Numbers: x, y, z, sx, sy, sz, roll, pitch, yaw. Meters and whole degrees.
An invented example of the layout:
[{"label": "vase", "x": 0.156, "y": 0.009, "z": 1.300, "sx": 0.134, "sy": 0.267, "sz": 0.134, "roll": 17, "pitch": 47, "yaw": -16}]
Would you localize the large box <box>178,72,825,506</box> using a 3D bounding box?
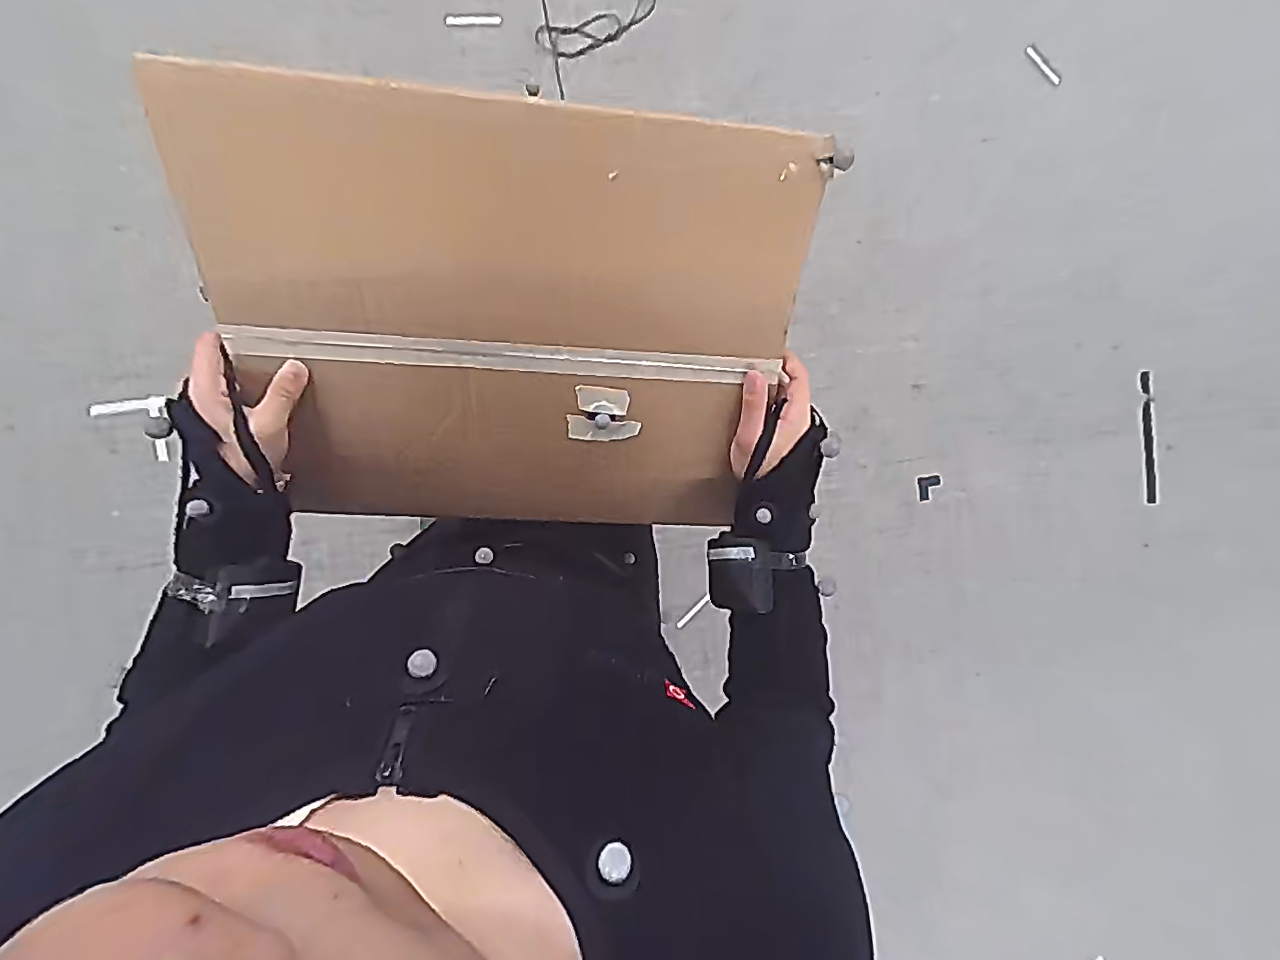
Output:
[{"label": "large box", "x": -0.100, "y": -0.187, "z": 0.538, "sx": 0.408, "sy": 0.320, "sz": 0.320, "roll": 1, "pitch": 125, "yaw": -7}]
